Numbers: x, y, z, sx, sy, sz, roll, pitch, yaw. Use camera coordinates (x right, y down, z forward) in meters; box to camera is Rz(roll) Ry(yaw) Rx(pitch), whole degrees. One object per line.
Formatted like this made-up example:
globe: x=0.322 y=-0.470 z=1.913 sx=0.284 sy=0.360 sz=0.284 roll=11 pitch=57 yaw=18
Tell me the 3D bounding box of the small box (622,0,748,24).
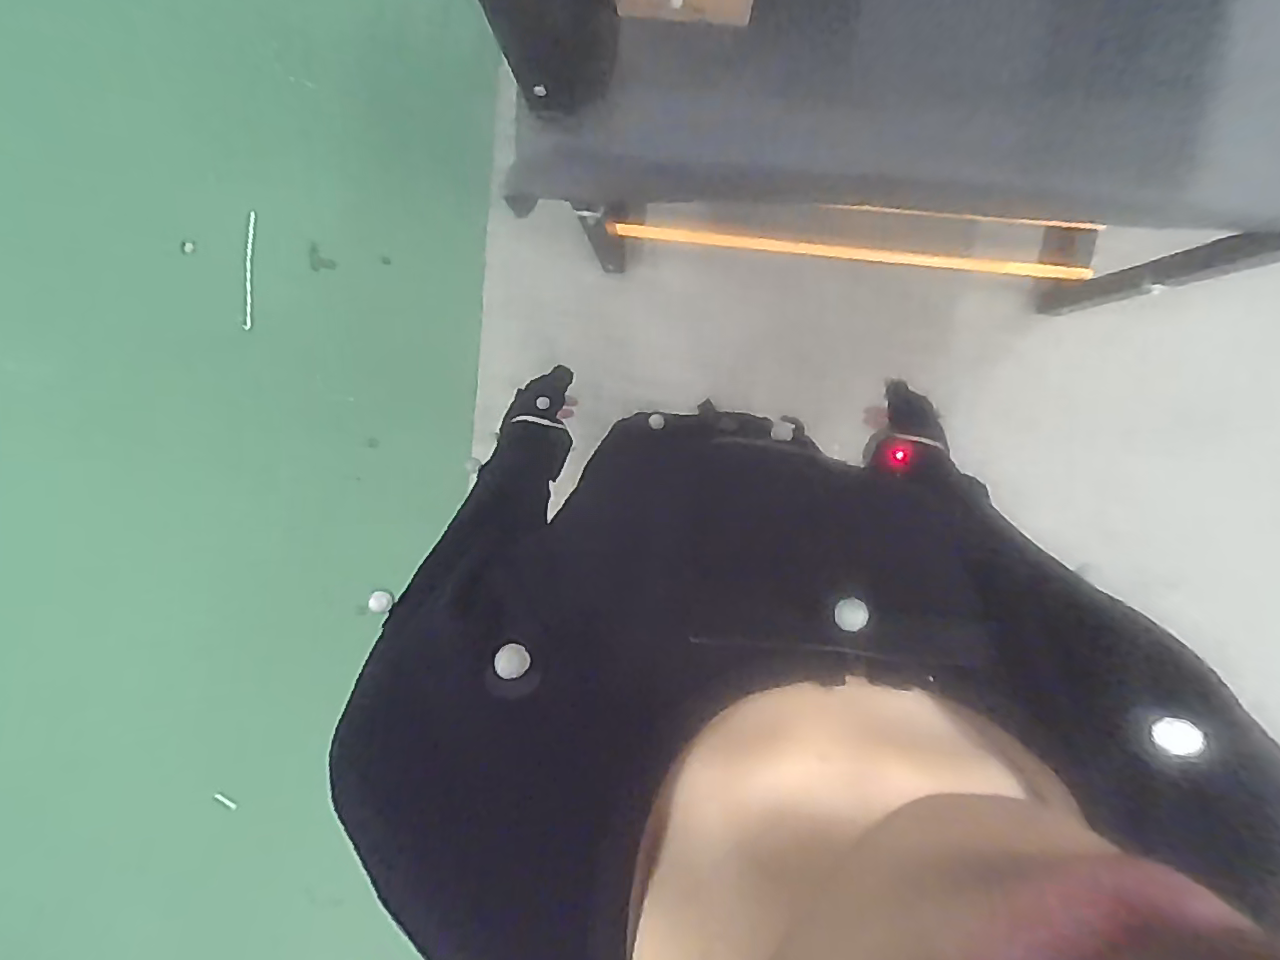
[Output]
small box: x=0.056 y=-0.656 z=0.588 sx=0.168 sy=0.176 sz=0.179 roll=6 pitch=98 yaw=2
